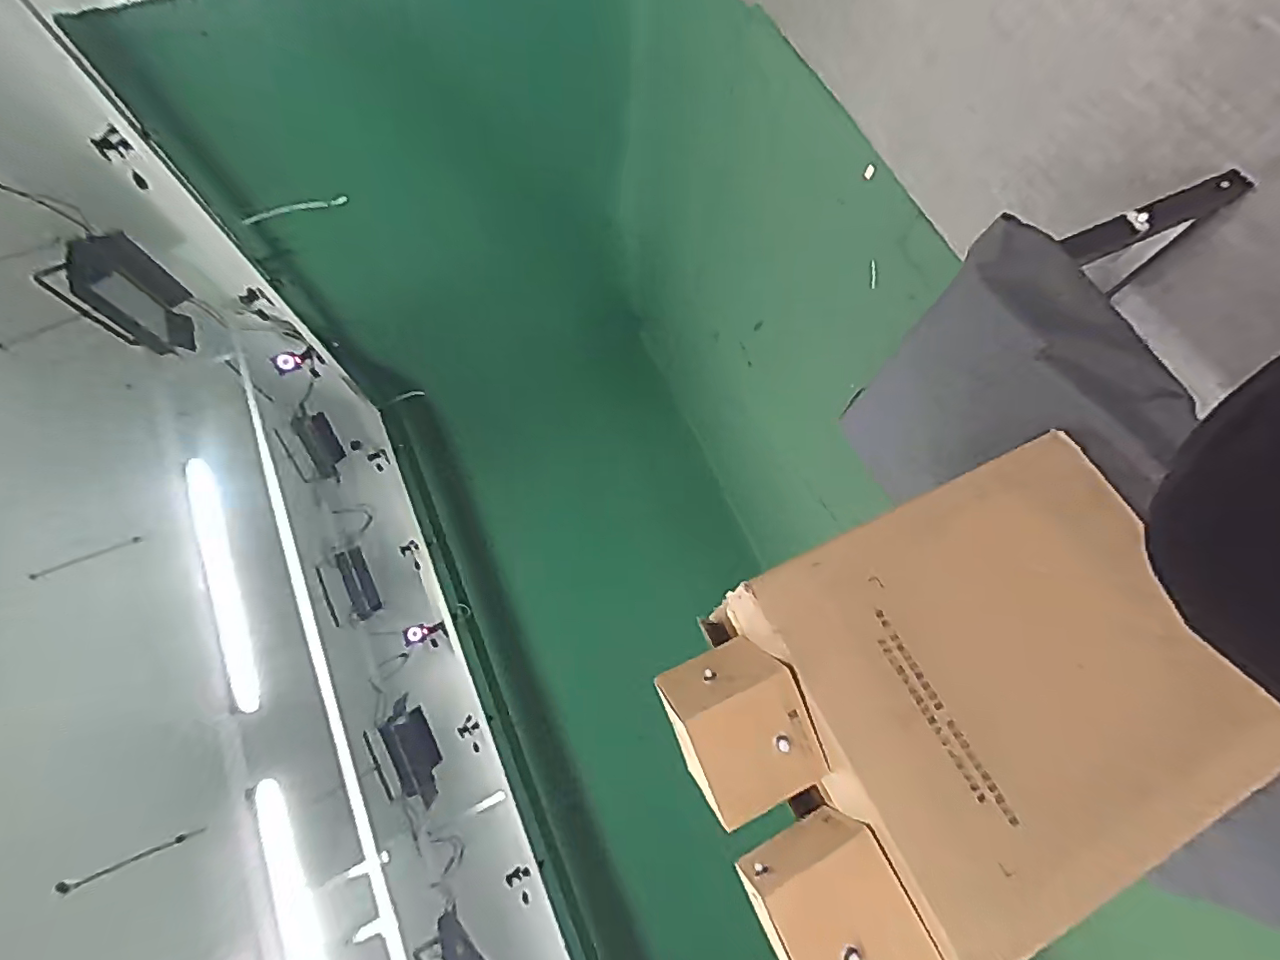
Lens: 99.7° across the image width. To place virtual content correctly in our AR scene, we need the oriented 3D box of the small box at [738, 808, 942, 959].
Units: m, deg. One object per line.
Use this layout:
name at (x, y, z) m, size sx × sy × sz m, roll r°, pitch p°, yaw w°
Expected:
small box at (0.262, 0.585, 0.725) m, size 0.179 × 0.176 × 0.168 m, roll 61°, pitch 166°, yaw 20°

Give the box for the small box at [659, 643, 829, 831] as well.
small box at (0.150, 0.367, 0.813) m, size 0.179 × 0.176 × 0.168 m, roll 171°, pitch 77°, yaw -78°
